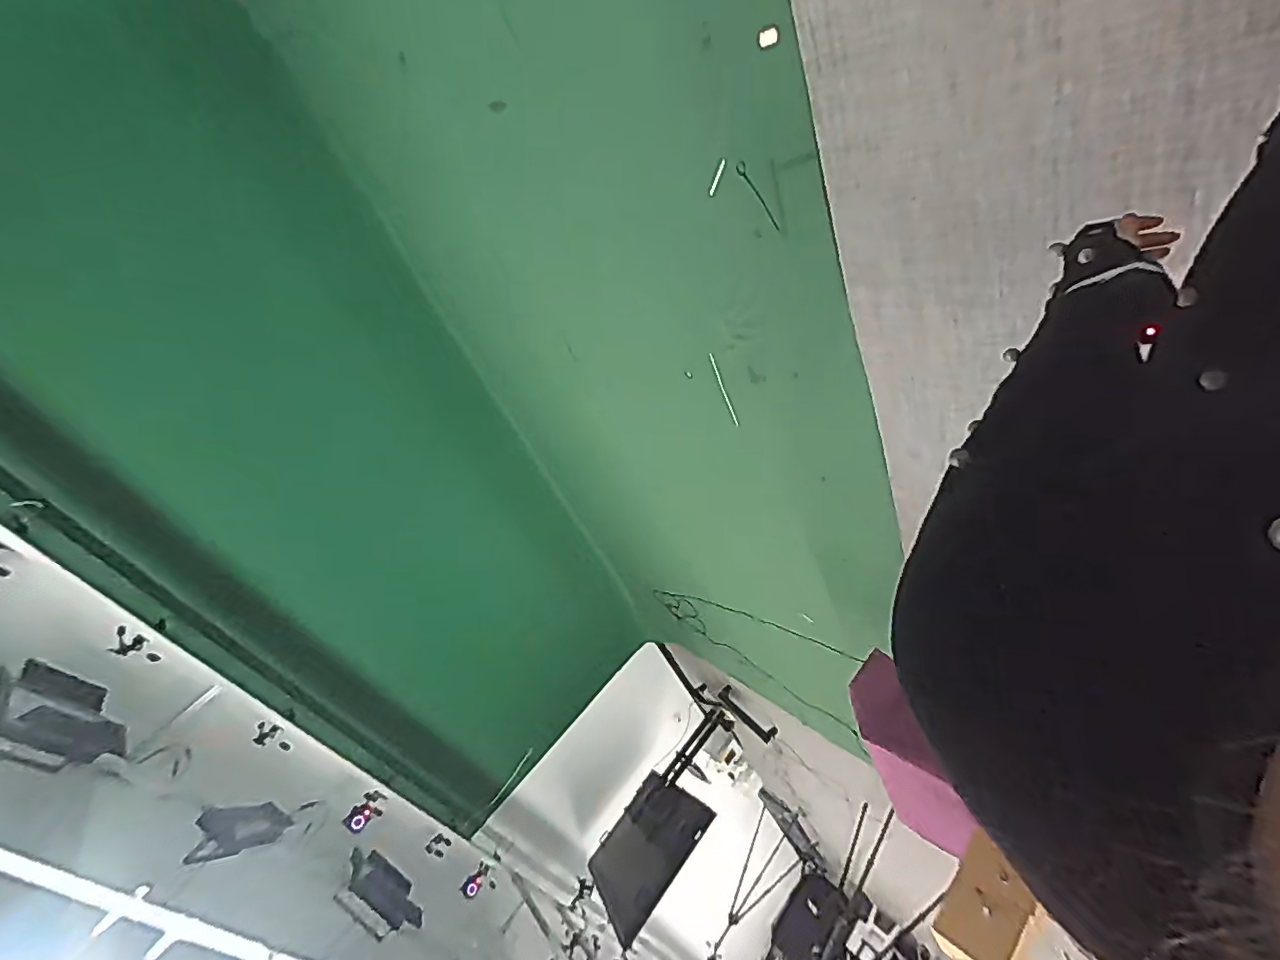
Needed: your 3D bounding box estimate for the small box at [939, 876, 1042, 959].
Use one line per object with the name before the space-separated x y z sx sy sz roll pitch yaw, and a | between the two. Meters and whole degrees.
small box | 0.887 1.158 1.362 0.168 0.176 0.179 12 139 51
